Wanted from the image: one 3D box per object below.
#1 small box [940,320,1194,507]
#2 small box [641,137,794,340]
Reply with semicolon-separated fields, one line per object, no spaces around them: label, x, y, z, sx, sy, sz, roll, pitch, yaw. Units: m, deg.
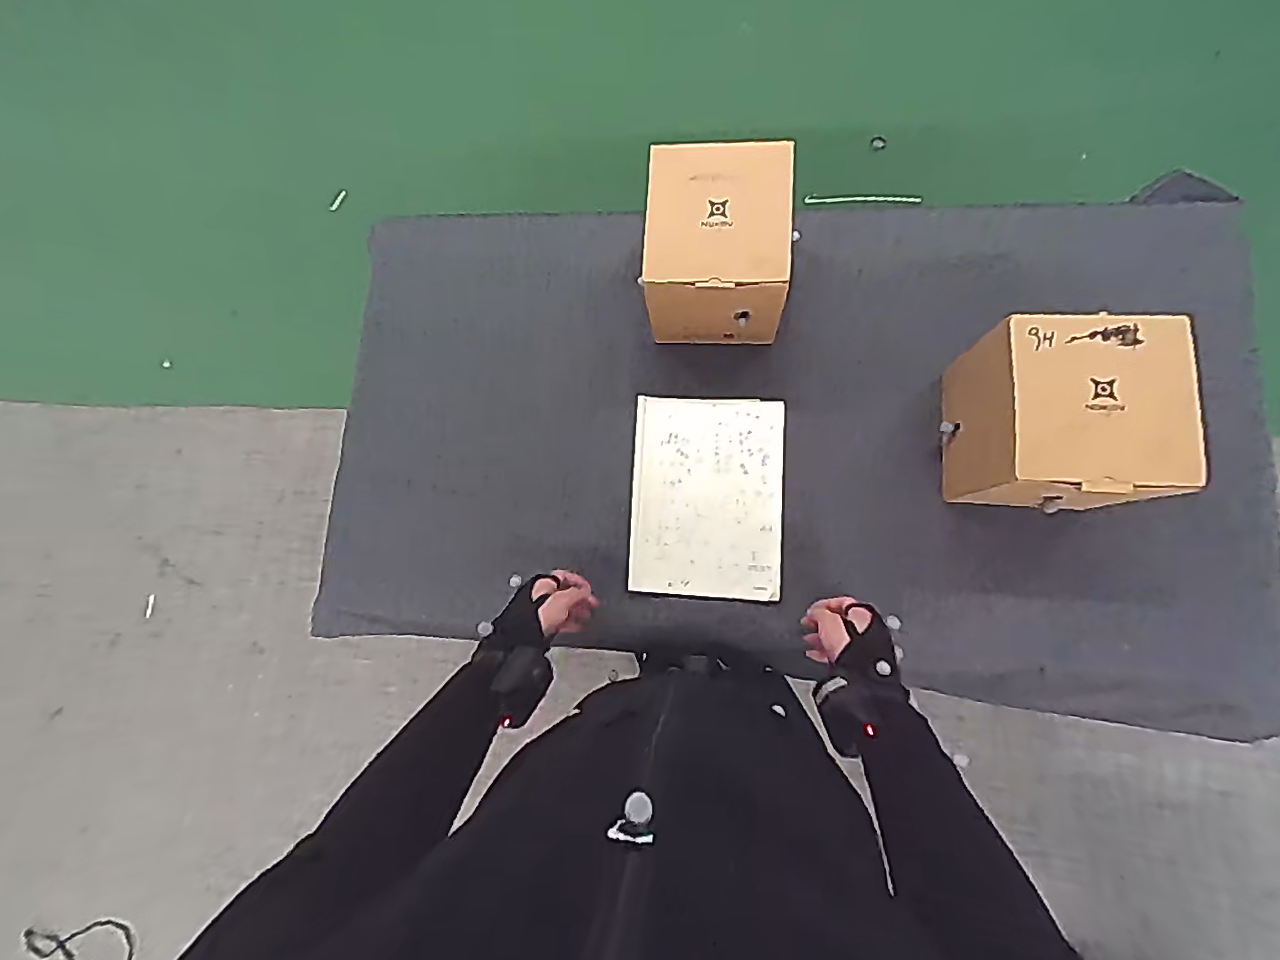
small box;0.460;-0.064;0.611;0.168;0.176;0.179;3;83;7
small box;0.095;-0.286;0.676;0.168;0.176;0.179;2;81;6
